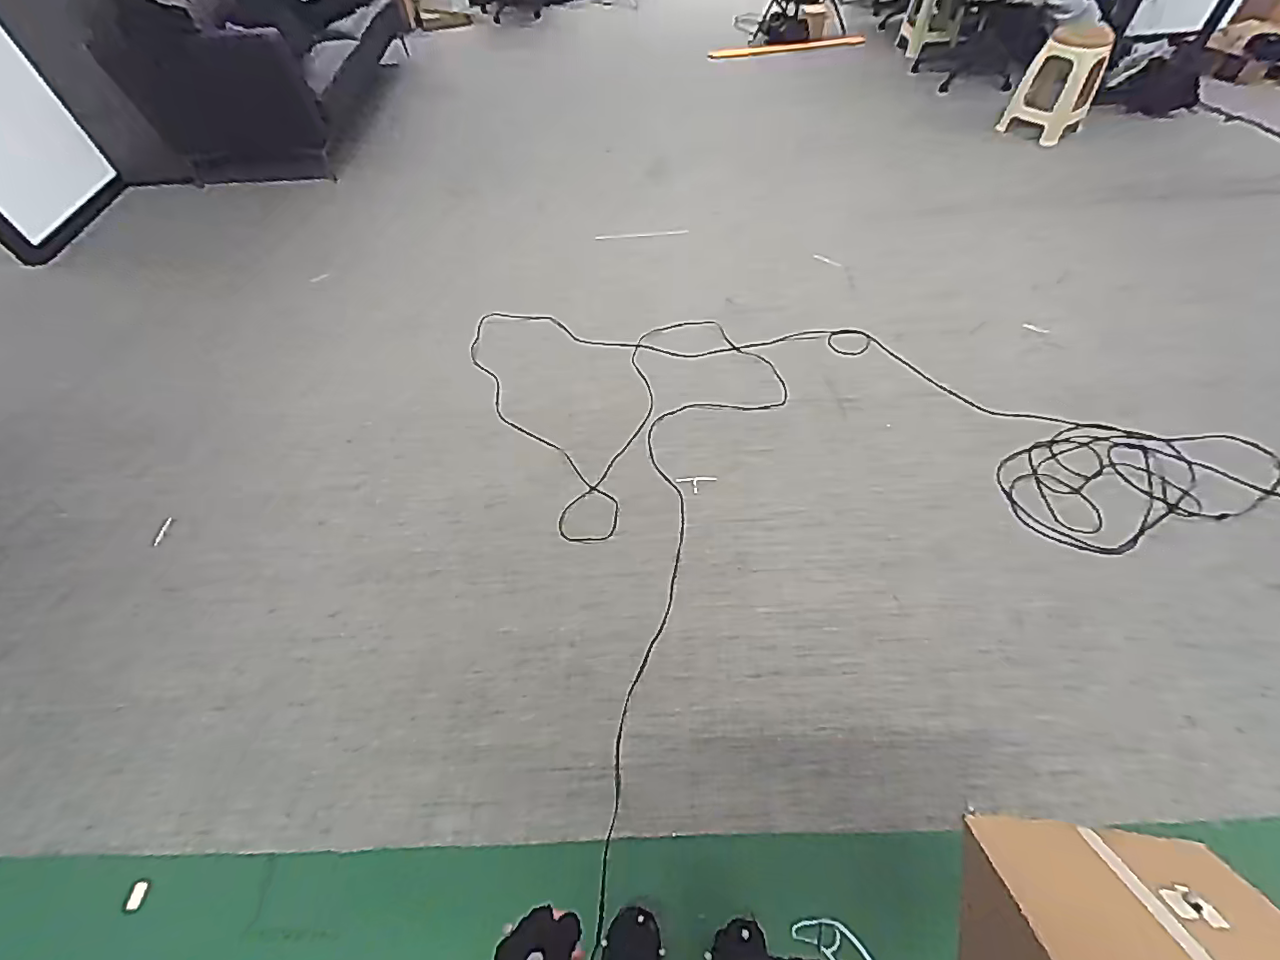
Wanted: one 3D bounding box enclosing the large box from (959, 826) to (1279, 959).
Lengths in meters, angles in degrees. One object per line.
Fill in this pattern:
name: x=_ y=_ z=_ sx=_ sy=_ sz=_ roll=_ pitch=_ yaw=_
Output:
large box: x=0.602 y=0.686 z=0.608 sx=0.320 sy=0.408 sz=0.320 roll=2 pitch=92 yaw=11
